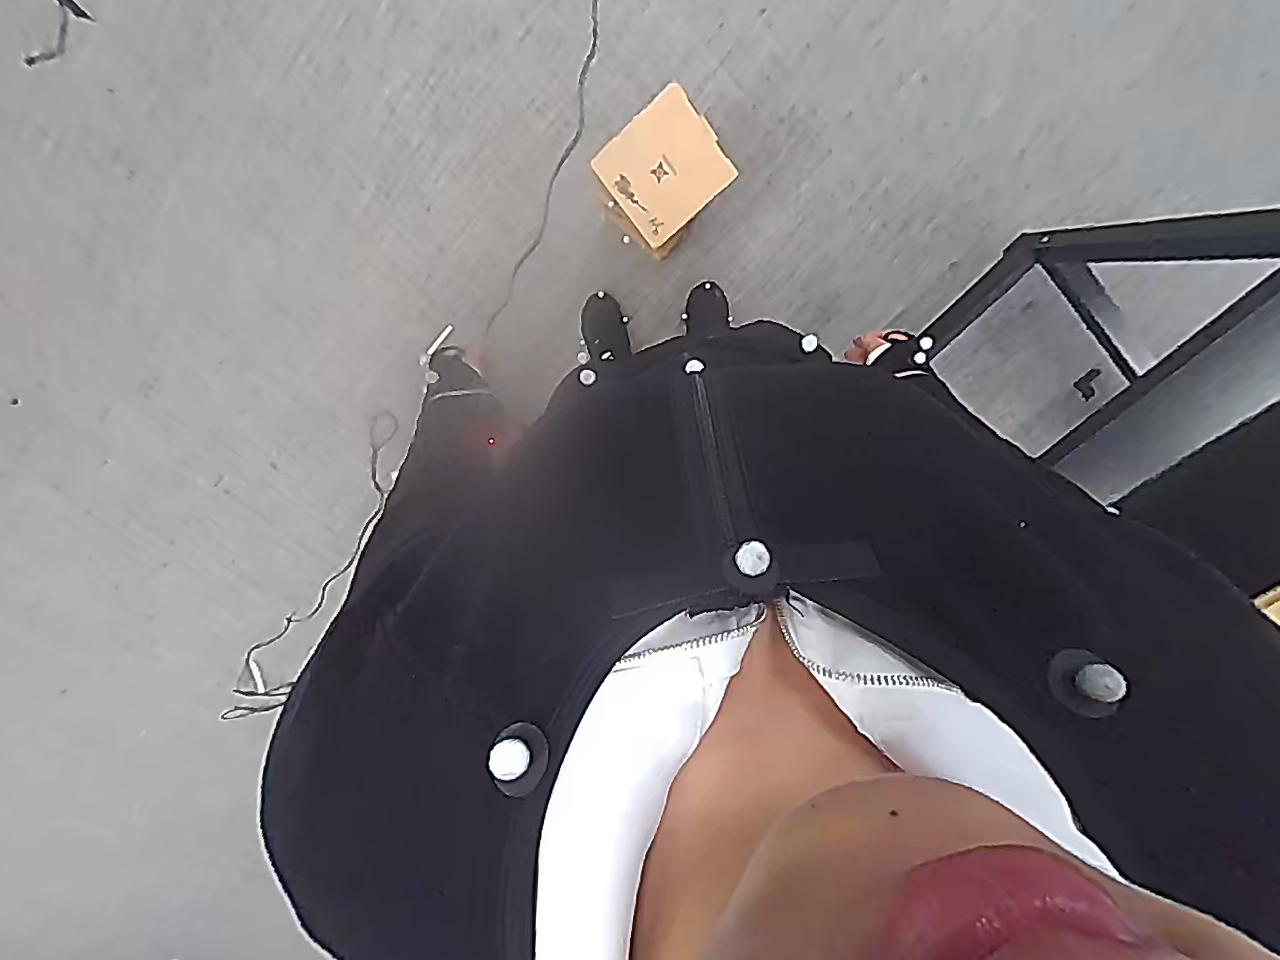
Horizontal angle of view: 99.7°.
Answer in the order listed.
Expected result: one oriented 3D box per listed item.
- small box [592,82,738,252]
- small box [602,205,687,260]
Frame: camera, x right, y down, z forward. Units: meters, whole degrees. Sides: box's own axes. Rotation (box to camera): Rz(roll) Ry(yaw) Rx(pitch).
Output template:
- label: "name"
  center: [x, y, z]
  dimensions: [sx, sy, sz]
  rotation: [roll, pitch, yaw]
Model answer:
- label: "small box"
  center: [0.036, -0.513, 0.917]
  dimensions: [0.179, 0.176, 0.168]
  rotation: [-38, 106, 12]
- label: "small box"
  center: [0.032, -0.624, 1.224]
  dimensions: [0.168, 0.176, 0.179]
  rotation: [38, 107, -13]
